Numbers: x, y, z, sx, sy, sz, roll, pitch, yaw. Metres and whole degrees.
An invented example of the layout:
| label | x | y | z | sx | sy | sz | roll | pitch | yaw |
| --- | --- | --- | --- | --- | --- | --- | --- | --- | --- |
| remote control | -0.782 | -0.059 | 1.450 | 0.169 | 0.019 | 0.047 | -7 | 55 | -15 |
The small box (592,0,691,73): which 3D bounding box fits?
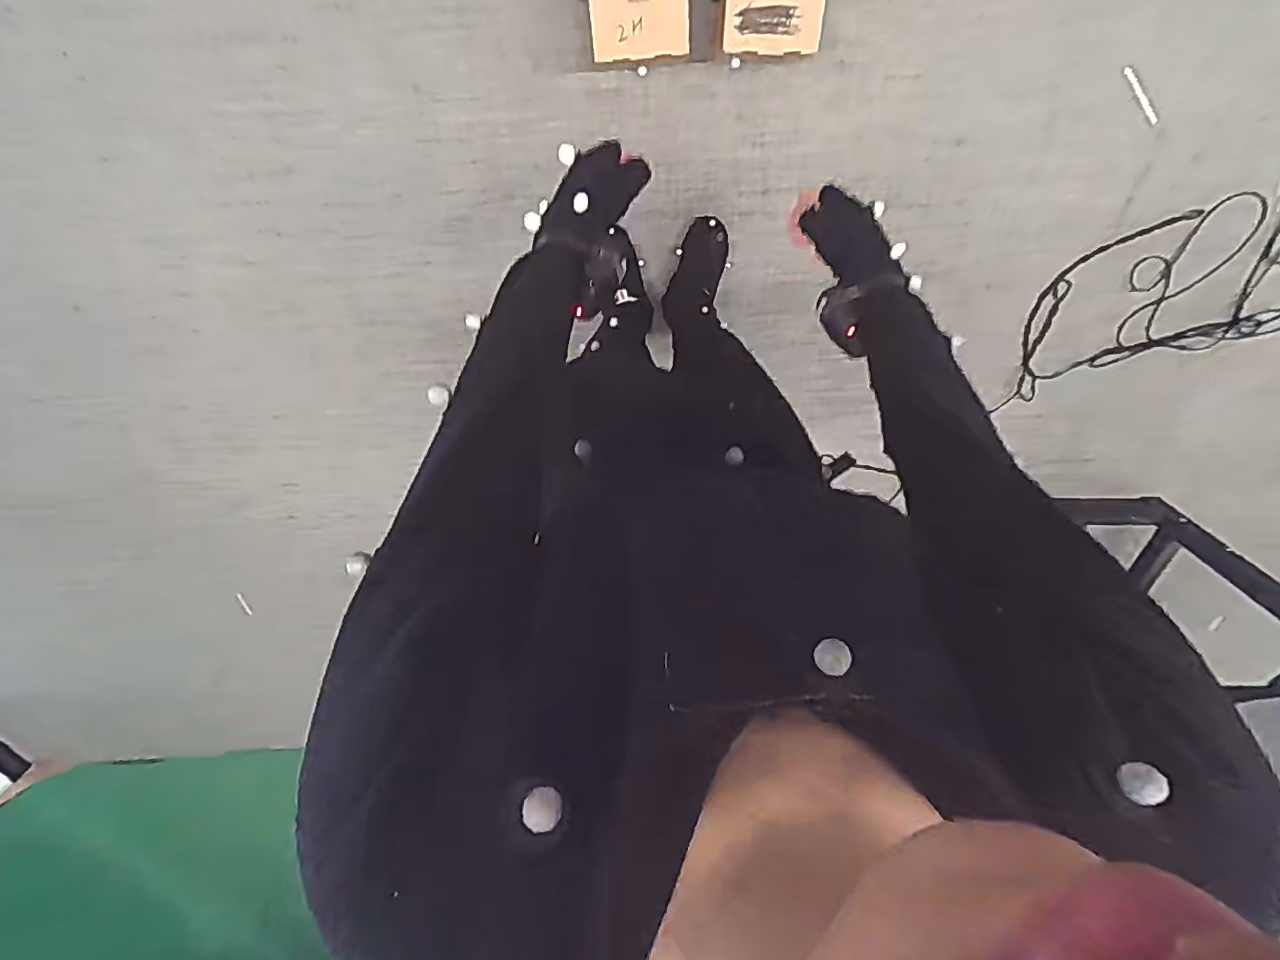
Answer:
| label | x | y | z | sx | sy | sz | roll | pitch | yaw |
| --- | --- | --- | --- | --- | --- | --- | --- | --- | --- |
| small box | 0.002 | -0.840 | 0.954 | 0.168 | 0.176 | 0.179 | -3 | 123 | 4 |
